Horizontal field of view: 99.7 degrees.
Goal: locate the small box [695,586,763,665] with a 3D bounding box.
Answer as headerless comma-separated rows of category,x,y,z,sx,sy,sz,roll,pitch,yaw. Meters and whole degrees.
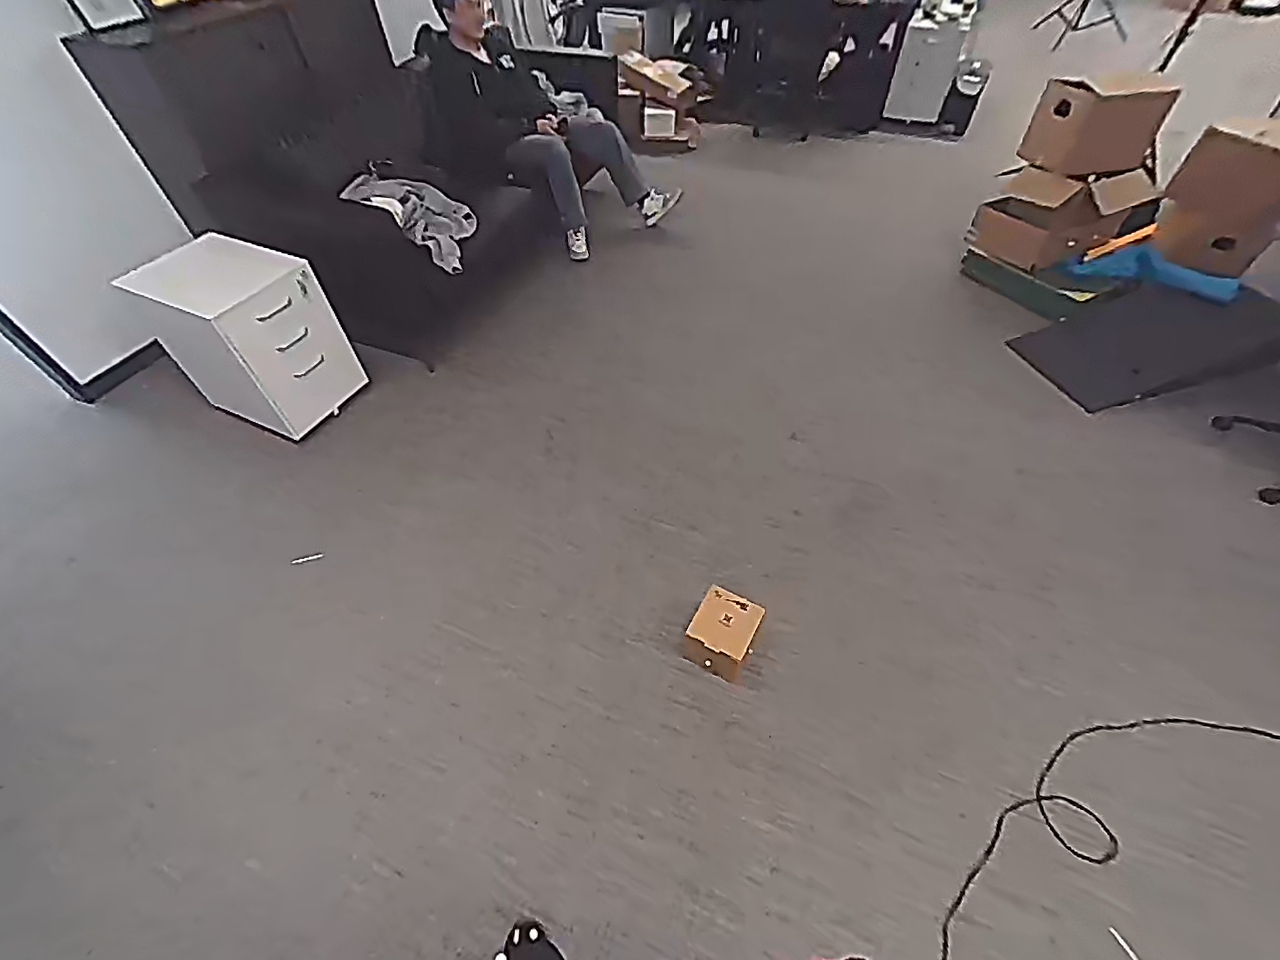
small box,0.250,0.420,1.551,0.179,0.176,0.168,-2,48,3
